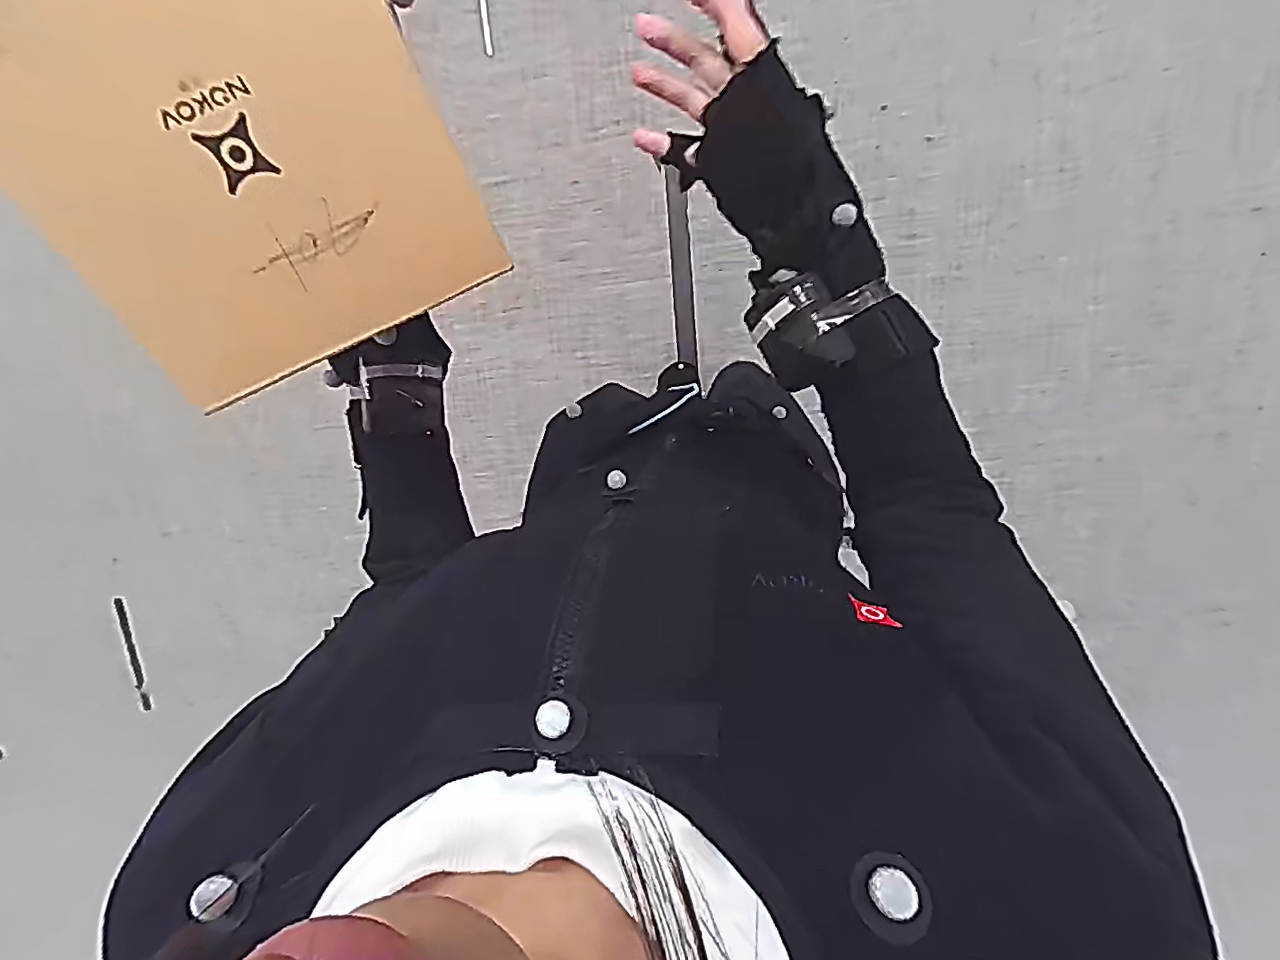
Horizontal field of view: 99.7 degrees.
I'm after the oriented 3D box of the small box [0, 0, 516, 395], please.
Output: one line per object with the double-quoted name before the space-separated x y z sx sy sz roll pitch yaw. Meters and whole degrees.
"small box" -0.186 -0.176 0.301 0.168 0.176 0.179 -26 119 -3
